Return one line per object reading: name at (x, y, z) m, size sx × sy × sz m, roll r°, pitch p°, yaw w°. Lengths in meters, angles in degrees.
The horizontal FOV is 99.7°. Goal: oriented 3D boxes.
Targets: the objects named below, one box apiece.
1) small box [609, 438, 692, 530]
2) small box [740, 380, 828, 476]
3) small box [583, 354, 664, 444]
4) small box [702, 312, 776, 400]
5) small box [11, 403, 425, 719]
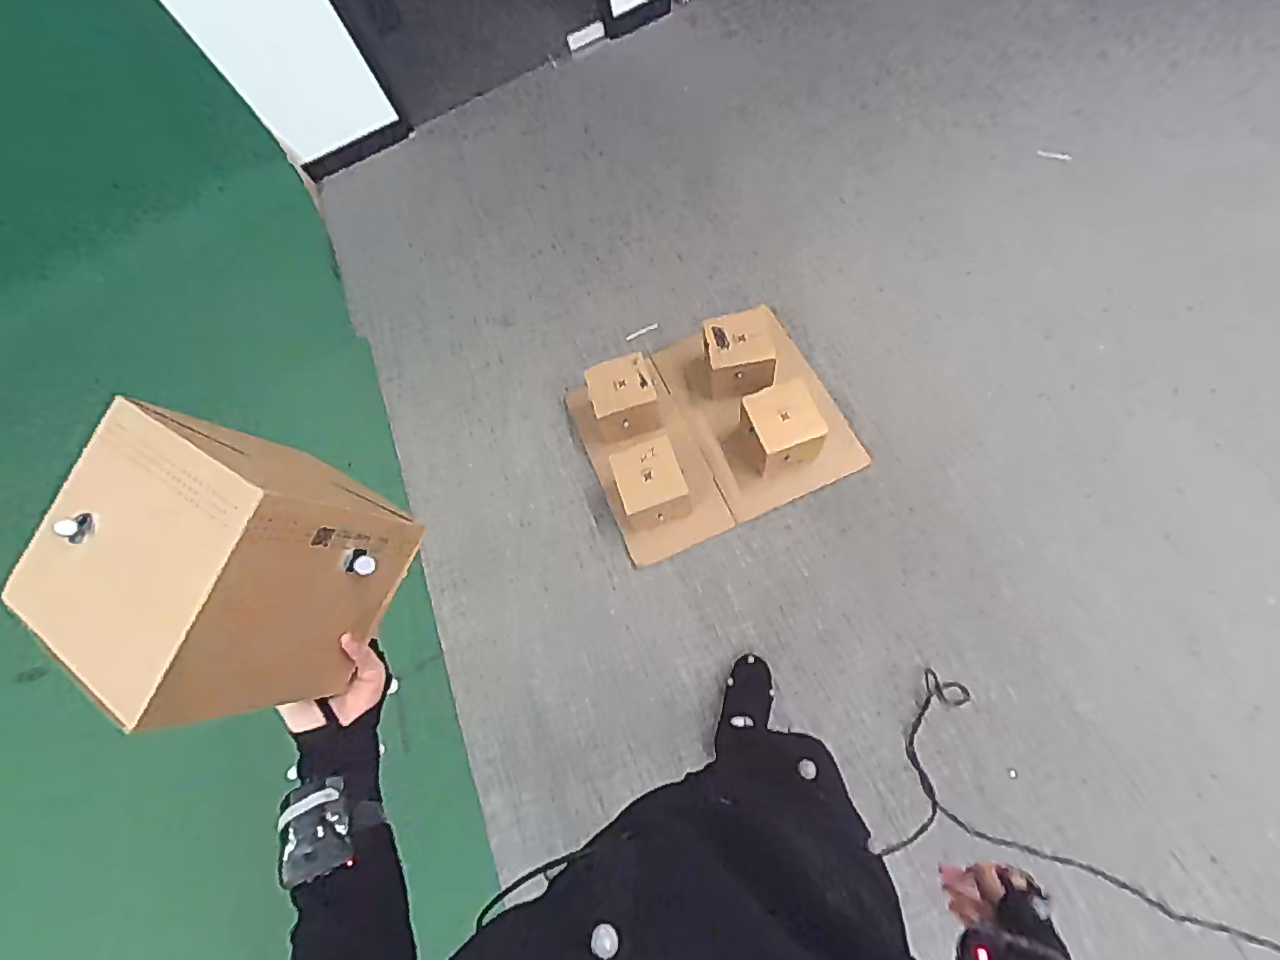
small box at (0.032, 0.020, 1.430) m, size 0.168 × 0.176 × 0.179 m, roll -19°, pitch 66°, yaw 2°
small box at (0.373, -0.127, 1.426) m, size 0.168 × 0.176 × 0.179 m, roll -20°, pitch 66°, yaw 1°
small box at (-0.044, -0.223, 1.540) m, size 0.179 × 0.176 × 0.168 m, roll -18°, pitch 67°, yaw 3°
small box at (0.277, -0.343, 1.526) m, size 0.179 × 0.176 × 0.168 m, roll -8°, pitch 68°, yaw 5°
small box at (-0.315, 0.056, 0.435) m, size 0.179 × 0.168 × 0.176 m, roll 25°, pitch 84°, yaw 19°
